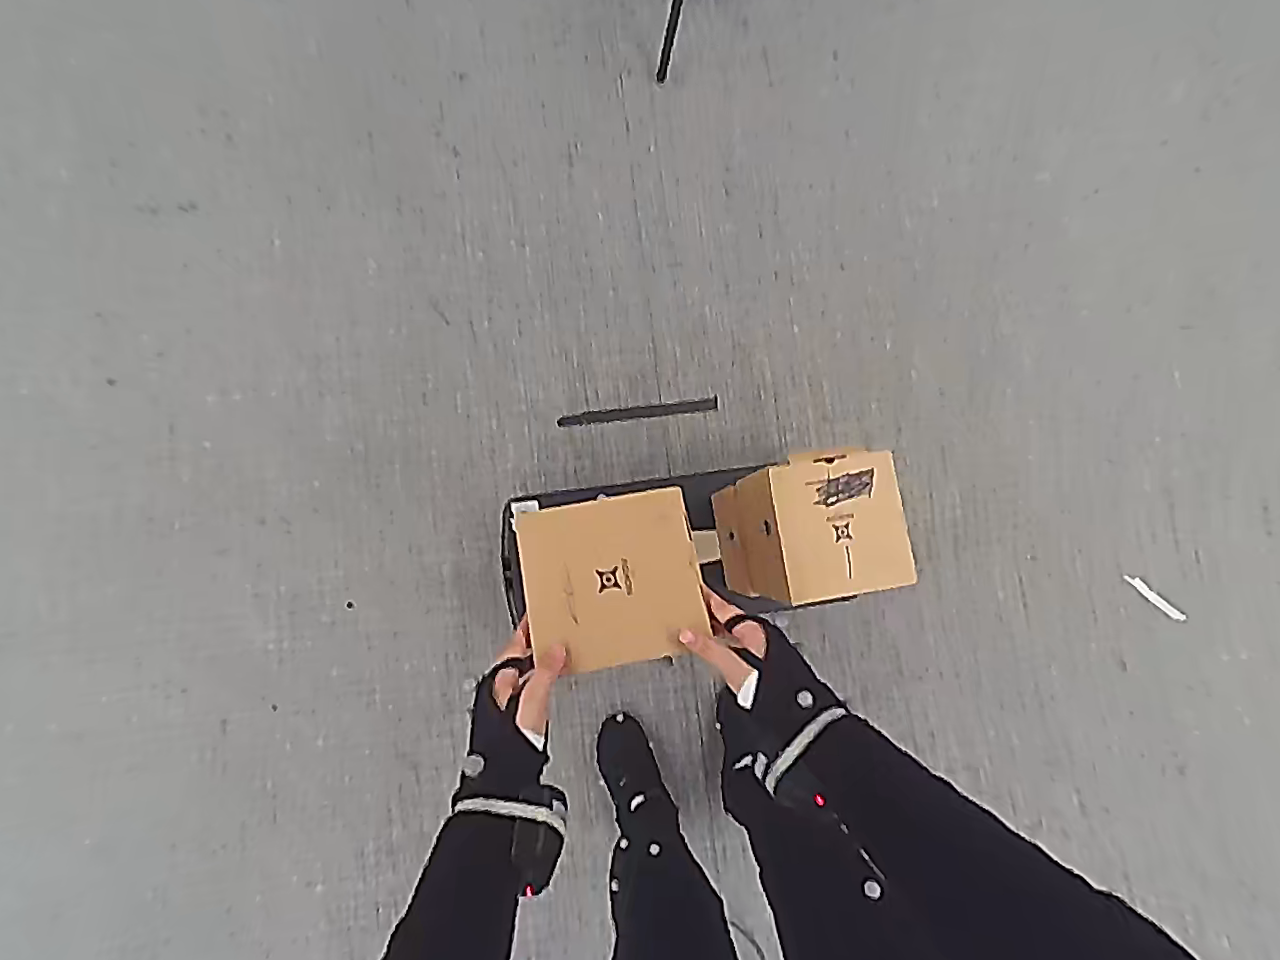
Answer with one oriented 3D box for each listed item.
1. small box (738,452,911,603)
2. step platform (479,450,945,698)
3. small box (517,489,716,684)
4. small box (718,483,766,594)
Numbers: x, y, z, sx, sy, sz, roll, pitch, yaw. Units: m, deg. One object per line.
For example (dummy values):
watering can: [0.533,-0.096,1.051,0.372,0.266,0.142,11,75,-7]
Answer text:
small box: [0.247,0.069,0.768,0.168,0.176,0.179,-9,85,-4]
step platform: [0.106,0.142,0.880,0.684,0.204,0.286,-7,83,-5]
small box: [-0.029,0.120,0.610,0.179,0.176,0.168,-11,75,-5]
small box: [0.228,0.093,0.929,0.168,0.176,0.179,-8,84,-4]
